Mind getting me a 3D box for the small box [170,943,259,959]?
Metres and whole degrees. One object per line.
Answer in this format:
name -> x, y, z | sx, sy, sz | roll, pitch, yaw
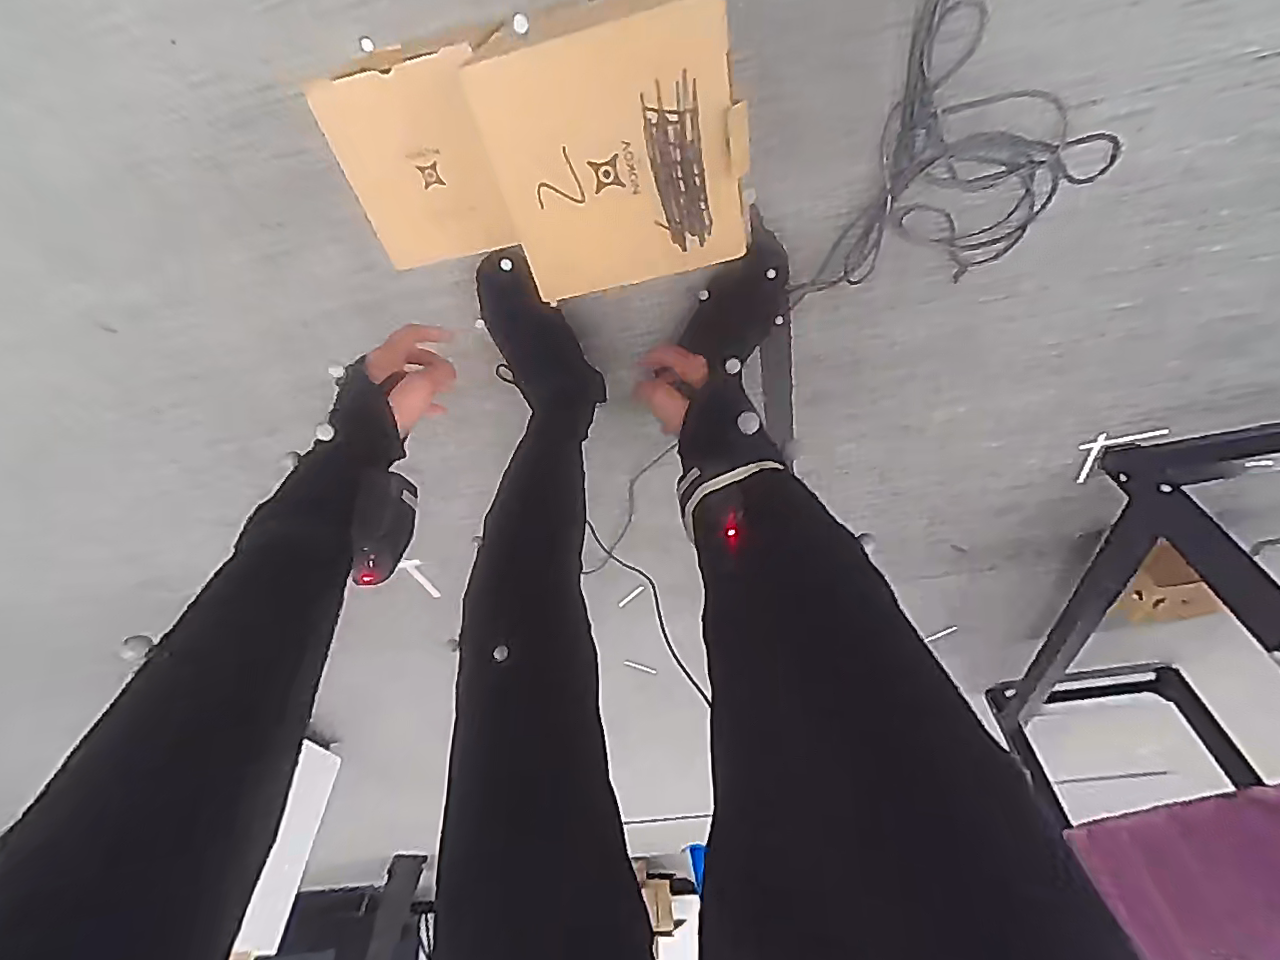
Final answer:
small box -> -1.249, 1.446, 1.545 | 0.179, 0.176, 0.168 | -10, 135, 9
